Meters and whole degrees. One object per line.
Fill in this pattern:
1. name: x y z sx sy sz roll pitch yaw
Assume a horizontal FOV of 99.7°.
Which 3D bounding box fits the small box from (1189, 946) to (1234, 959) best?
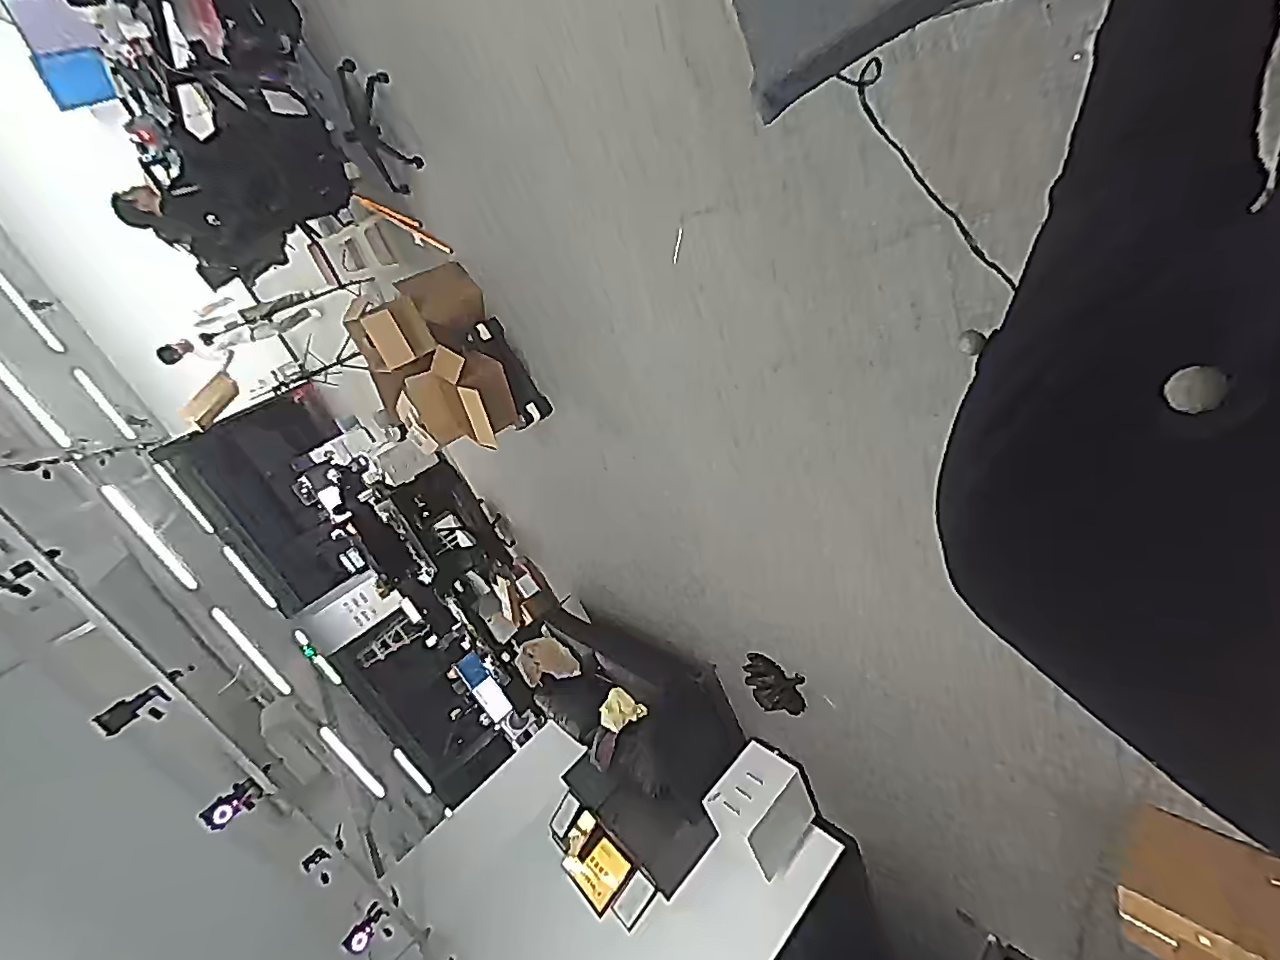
1. small box: 1.602 1.424 1.463 0.179 0.176 0.168 7 122 55
